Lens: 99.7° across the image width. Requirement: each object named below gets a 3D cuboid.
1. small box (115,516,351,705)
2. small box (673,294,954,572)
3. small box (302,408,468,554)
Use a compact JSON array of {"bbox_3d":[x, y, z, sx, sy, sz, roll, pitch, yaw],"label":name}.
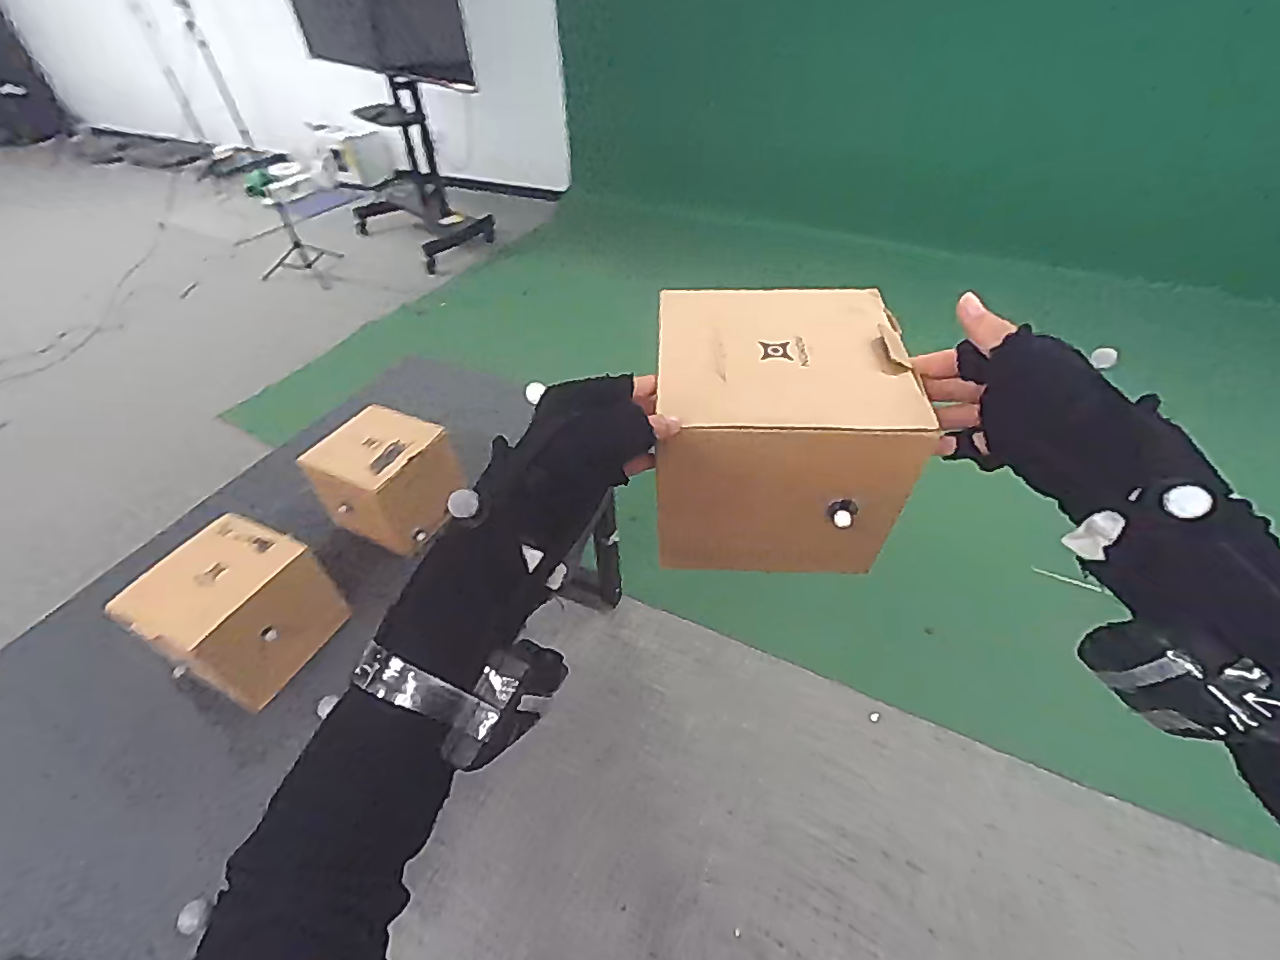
[{"bbox_3d":[-0.557,0.186,0.770,0.168,0.176,0.179,17,48,18],"label":"small box"},{"bbox_3d":[0.118,-0.035,0.451,0.179,0.176,0.168,0,48,4],"label":"small box"},{"bbox_3d":[-0.434,0.004,0.952,0.179,0.176,0.168,18,47,20],"label":"small box"}]
